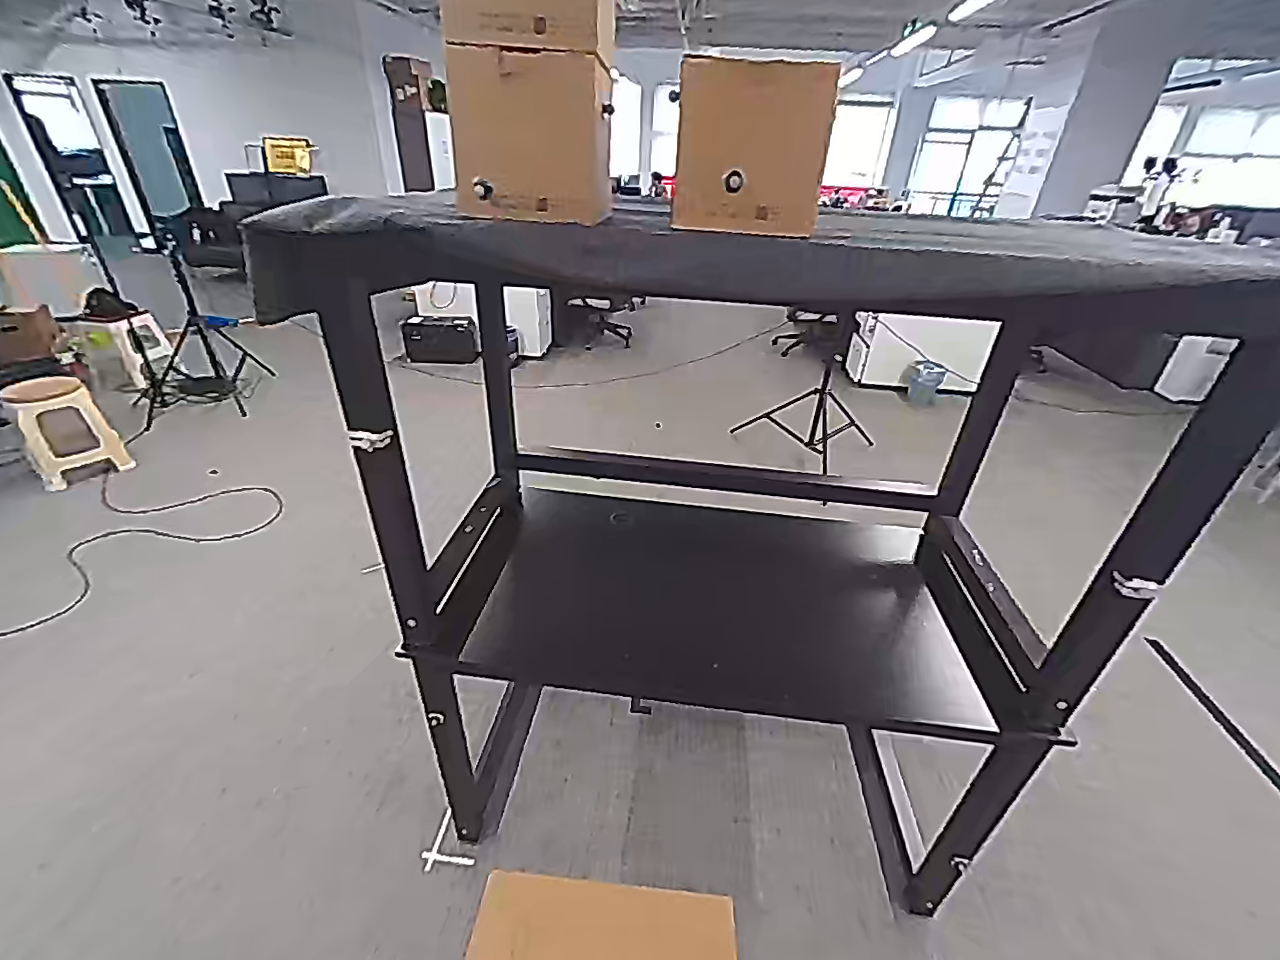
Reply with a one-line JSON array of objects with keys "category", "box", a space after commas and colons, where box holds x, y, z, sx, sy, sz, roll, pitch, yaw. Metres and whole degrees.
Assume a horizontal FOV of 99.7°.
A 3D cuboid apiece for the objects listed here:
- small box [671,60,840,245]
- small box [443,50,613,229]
[{"category": "small box", "box": [0.128, -0.393, 0.667, 0.168, 0.176, 0.179, 5, 29, 4]}, {"category": "small box", "box": [-0.127, -0.416, 0.680, 0.168, 0.176, 0.179, 5, 29, 2]}]
